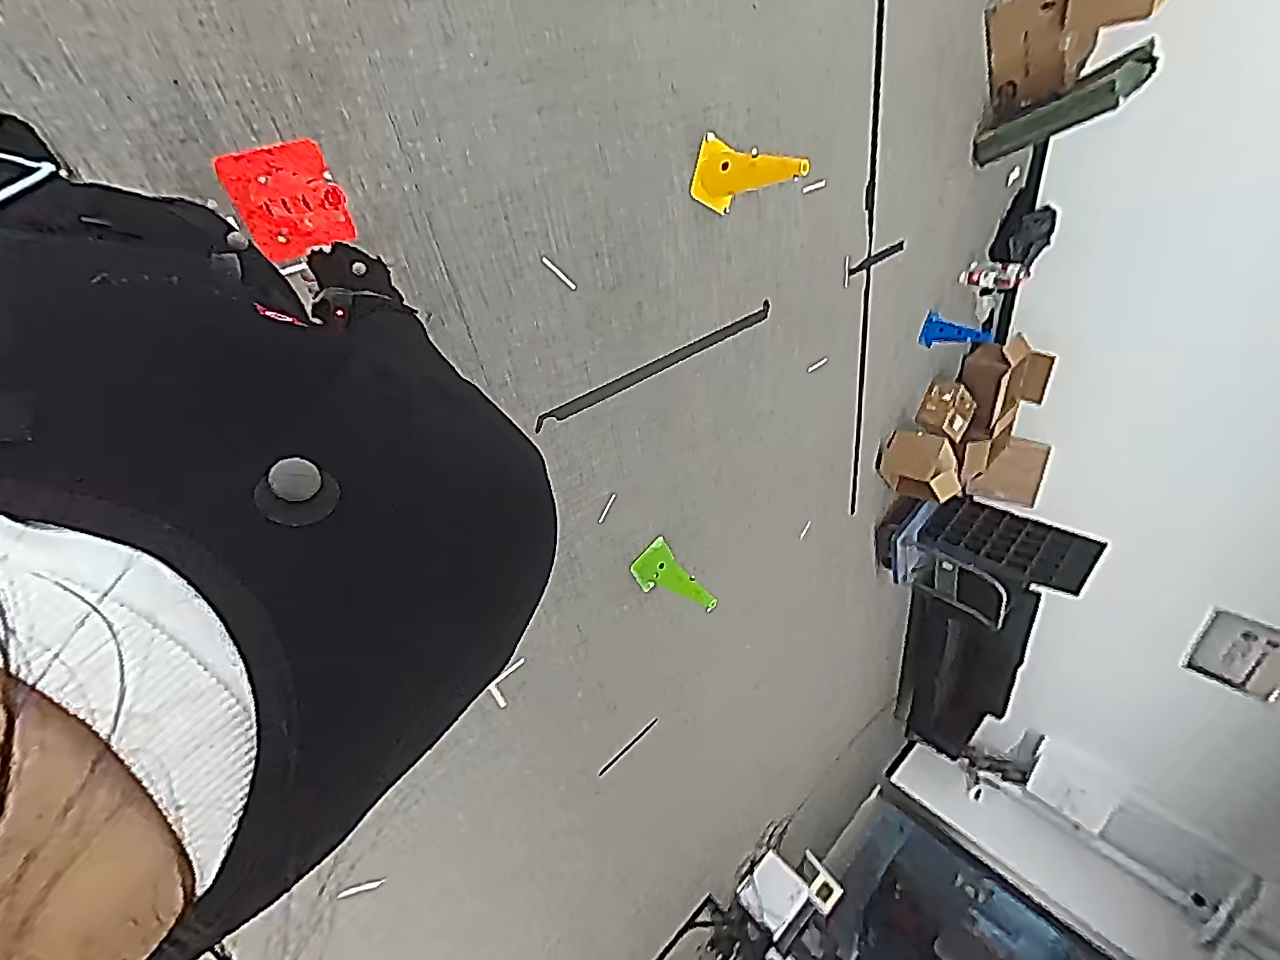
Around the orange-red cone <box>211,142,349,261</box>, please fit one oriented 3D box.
[{"bbox_3d":[-0.623,-0.520,1.007,0.199,0.360,0.198,-34,130,-29],"label":"orange-red cone"}]

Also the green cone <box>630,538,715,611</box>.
[{"bbox_3d":[0.164,0.426,2.213,0.202,0.368,0.200,-45,133,-17],"label":"green cone"}]
